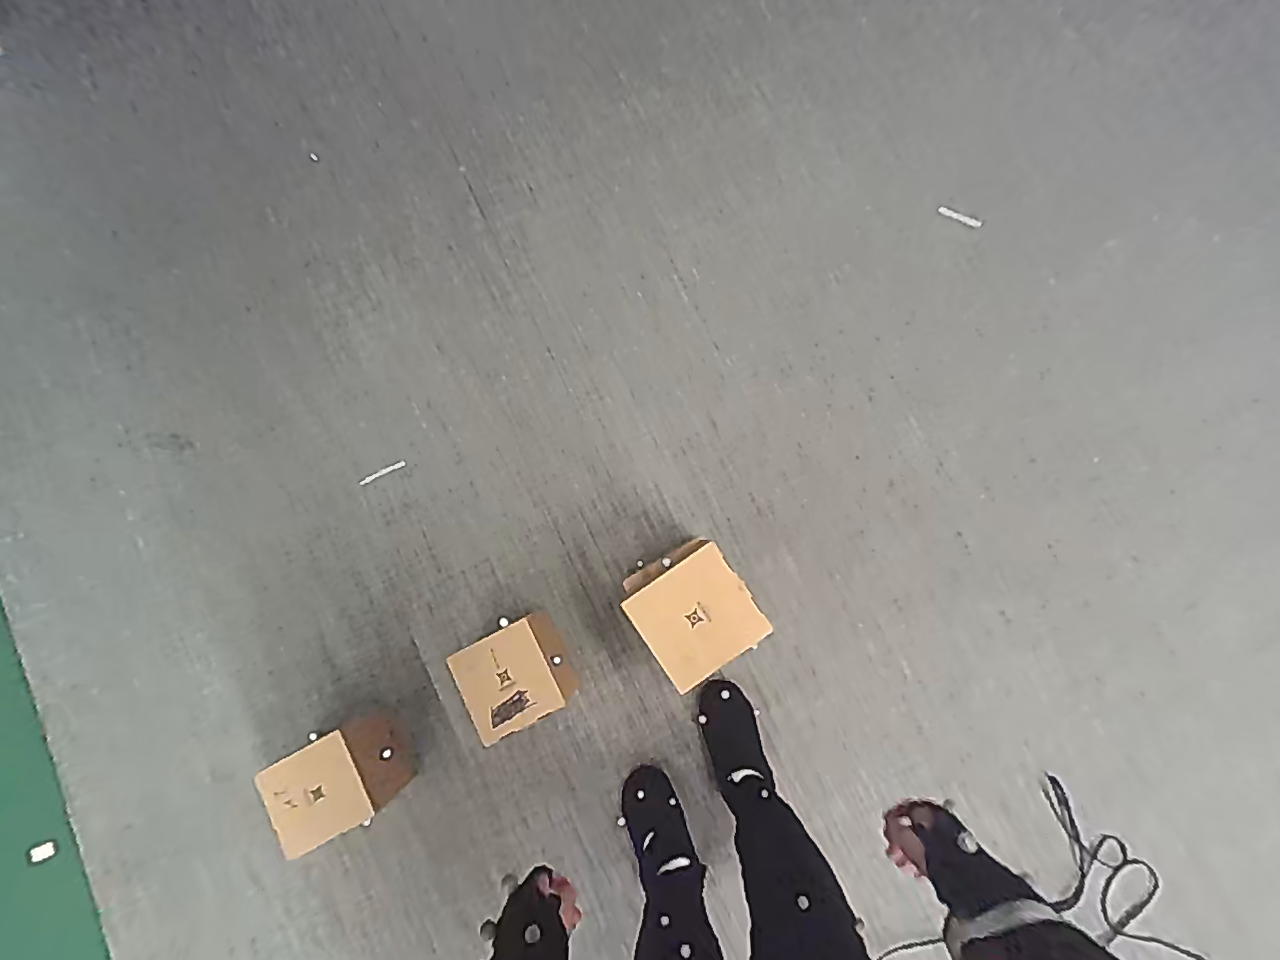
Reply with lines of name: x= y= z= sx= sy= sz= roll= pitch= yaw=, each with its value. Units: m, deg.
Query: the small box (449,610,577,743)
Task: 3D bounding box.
small box: x=-0.239 y=0.375 z=1.066 sx=0.168 sy=0.176 sz=0.179 roll=-27 pitch=82 yaw=-1

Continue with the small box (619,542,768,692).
small box: x=0.086 y=0.219 z=0.907 sx=0.179 sy=0.176 sz=0.168 roll=-35 pitch=84 yaw=-2

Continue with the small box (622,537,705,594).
small box: x=0.082 y=0.226 z=1.070 sx=0.179 sy=0.176 sz=0.168 roll=-30 pitch=84 yaw=-2

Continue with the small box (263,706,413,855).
small box: x=-0.574 y=0.572 z=1.058 sx=0.179 sy=0.176 sz=0.168 roll=-28 pitch=82 yaw=-1
